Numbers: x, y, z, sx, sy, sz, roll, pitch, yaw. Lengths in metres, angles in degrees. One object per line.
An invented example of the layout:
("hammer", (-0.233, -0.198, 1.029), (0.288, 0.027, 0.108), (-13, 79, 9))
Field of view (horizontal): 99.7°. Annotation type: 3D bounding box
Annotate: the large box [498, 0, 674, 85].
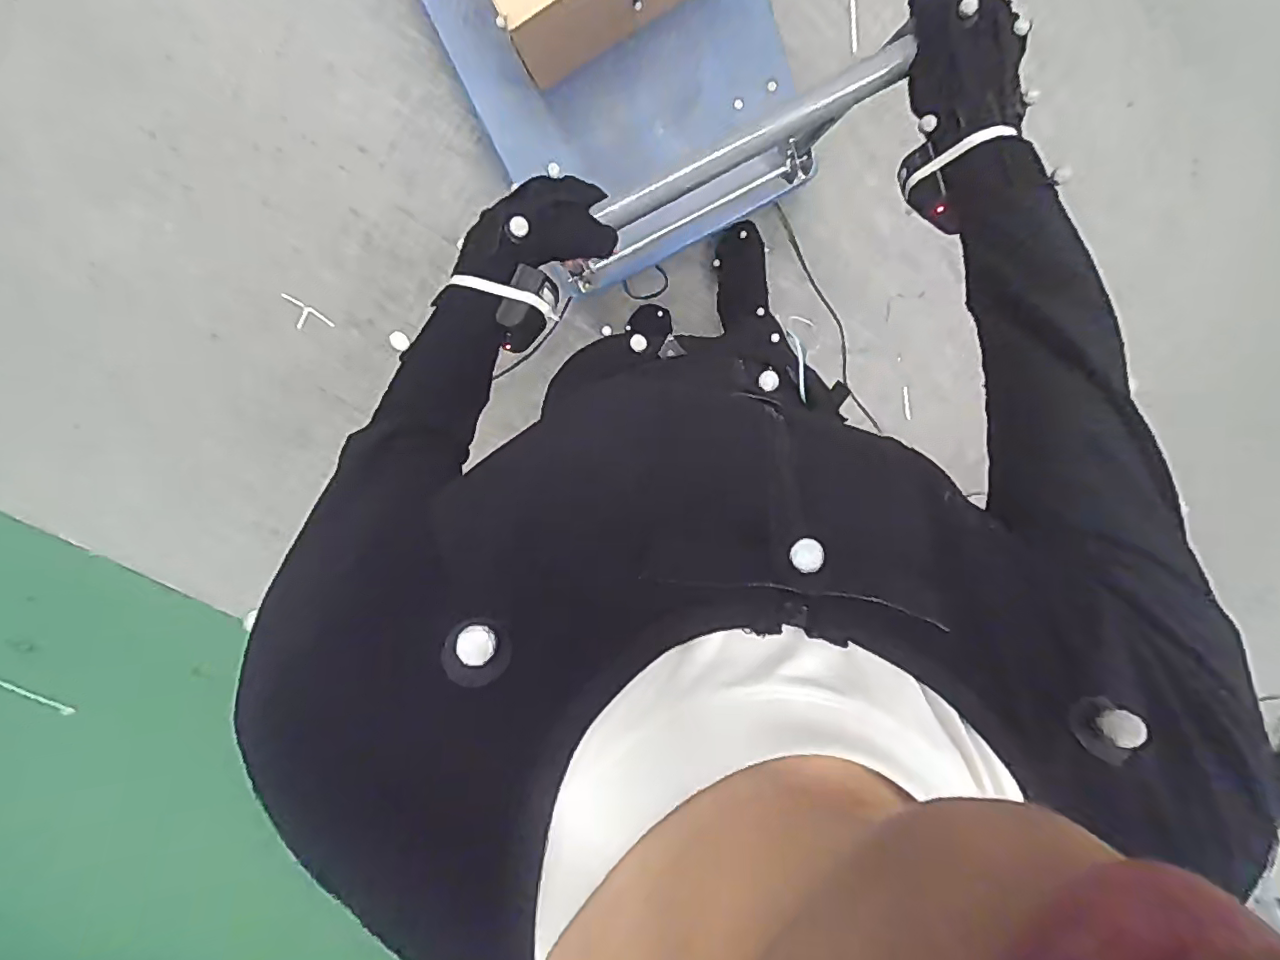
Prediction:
("large box", (-0.075, -0.902, 0.812), (0.408, 0.320, 0.320), (-27, 110, 10))
